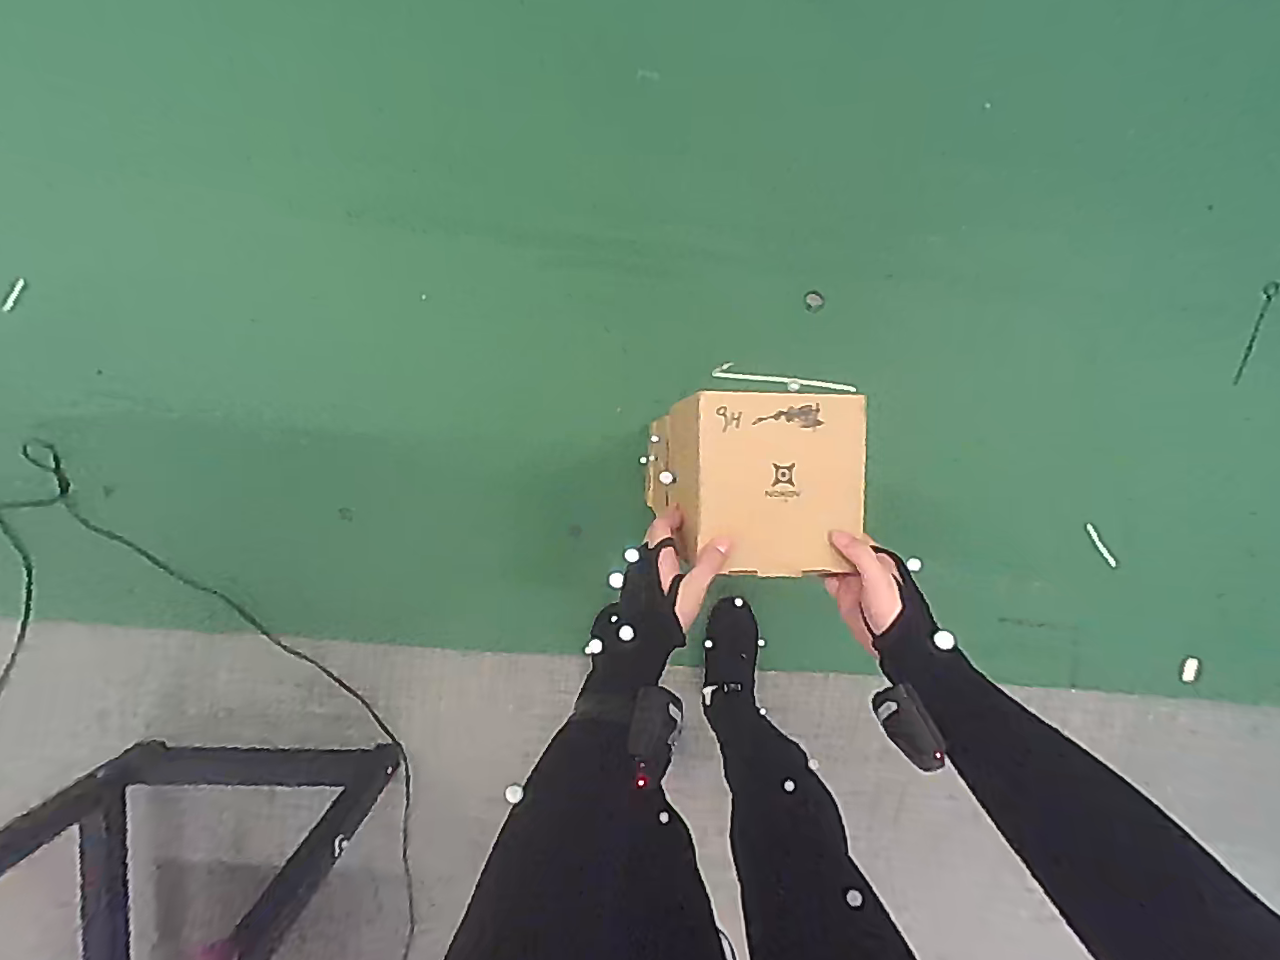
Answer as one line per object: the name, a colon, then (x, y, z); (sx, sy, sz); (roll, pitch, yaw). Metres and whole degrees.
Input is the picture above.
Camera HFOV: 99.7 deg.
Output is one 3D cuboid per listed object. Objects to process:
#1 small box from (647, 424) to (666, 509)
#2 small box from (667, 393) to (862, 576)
small box: (0.110, -0.025, 1.104); (0.179, 0.176, 0.168); (4, 94, -1)
small box: (0.124, 0.001, 0.599); (0.168, 0.176, 0.179); (1, 92, -6)
